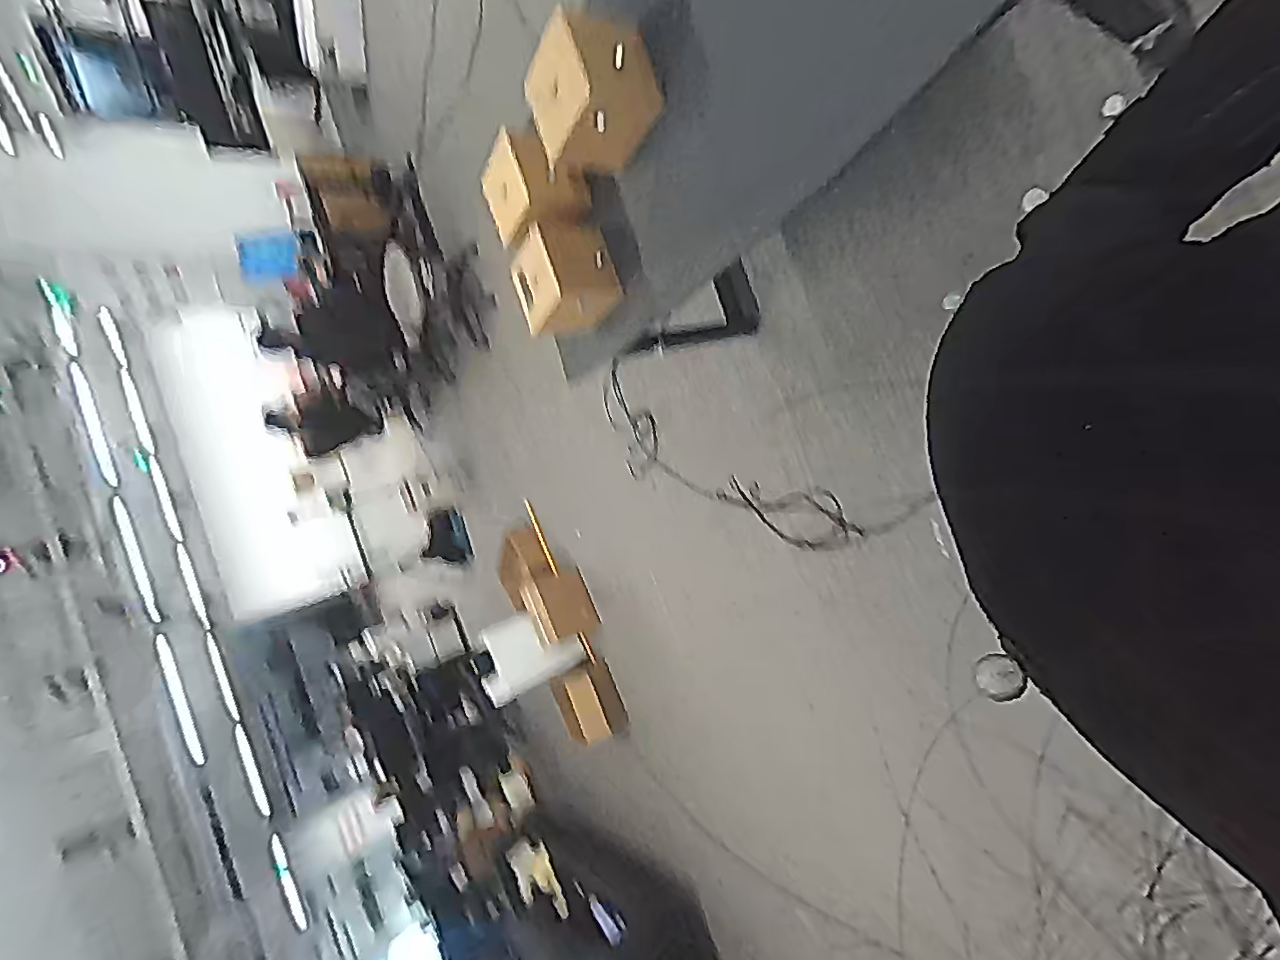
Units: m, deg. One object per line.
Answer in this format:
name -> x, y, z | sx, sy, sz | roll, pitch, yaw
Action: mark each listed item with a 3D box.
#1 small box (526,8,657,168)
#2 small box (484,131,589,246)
small box -> -0.087, -0.728, 1.027 | 0.179, 0.176, 0.168 | -24, 85, 56
small box -> -0.237, -0.674, 1.265 | 0.179, 0.176, 0.168 | -25, 84, 56
